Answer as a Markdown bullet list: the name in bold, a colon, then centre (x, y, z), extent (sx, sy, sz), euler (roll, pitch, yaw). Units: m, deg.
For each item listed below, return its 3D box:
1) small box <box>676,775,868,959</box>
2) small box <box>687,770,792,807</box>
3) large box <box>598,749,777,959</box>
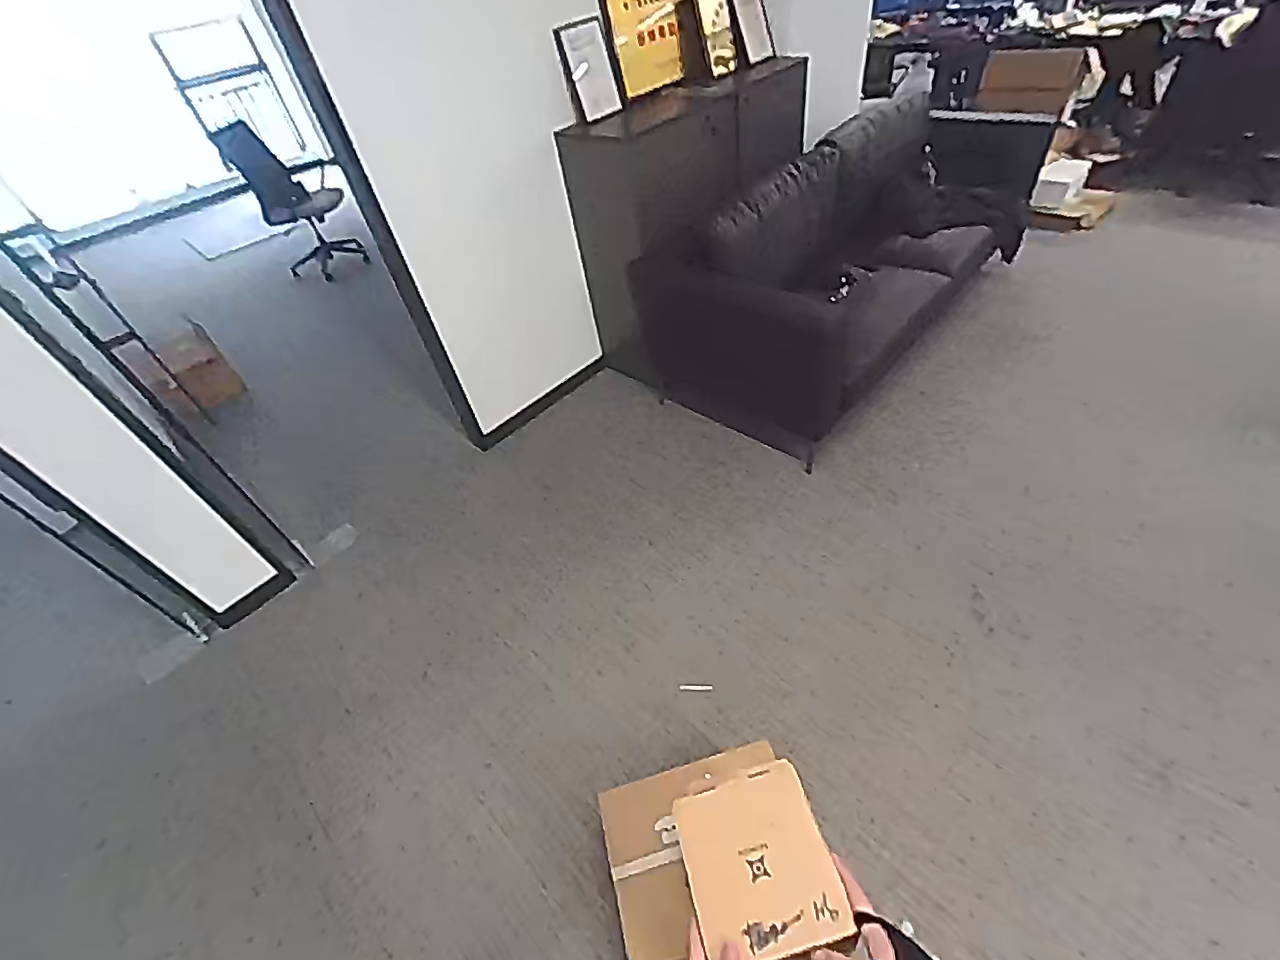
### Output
- **small box**: centre (0.152, 0.502, 0.659), extent (0.168, 0.176, 0.179), euler (-17, 41, -1)
- **small box**: centre (0.183, 0.594, 0.868), extent (0.179, 0.176, 0.168), euler (-14, 45, -1)
- **large box**: centre (0.158, 0.859, 1.190), extent (0.408, 0.320, 0.320), euler (-16, 44, -4)
